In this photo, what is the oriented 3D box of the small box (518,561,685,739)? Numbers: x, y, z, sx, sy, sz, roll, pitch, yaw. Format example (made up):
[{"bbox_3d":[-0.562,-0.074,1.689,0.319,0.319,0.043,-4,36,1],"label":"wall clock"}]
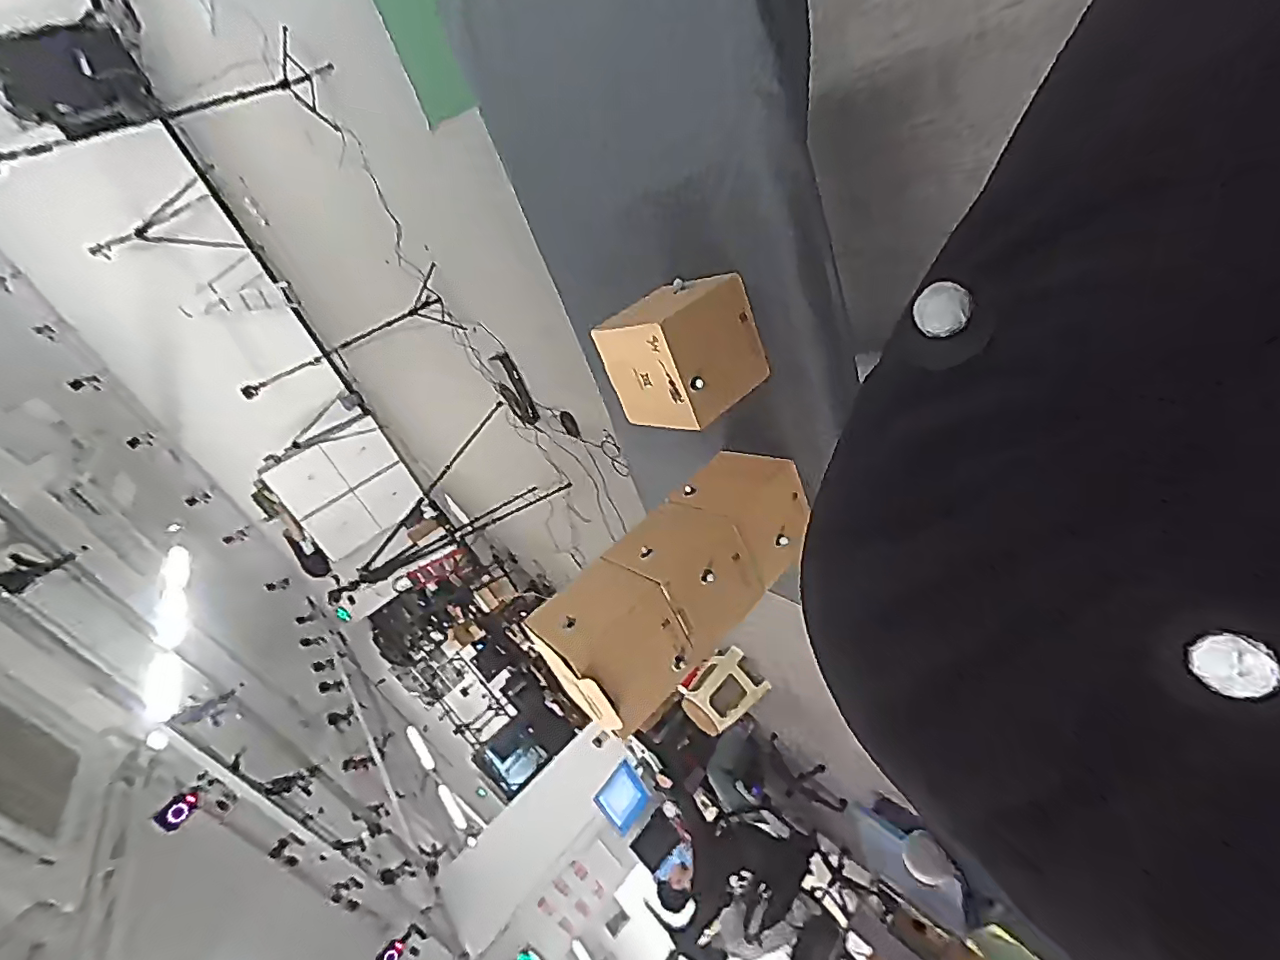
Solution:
[{"bbox_3d":[-0.051,0.247,0.834,0.179,0.176,0.168,11,132,55],"label":"small box"}]

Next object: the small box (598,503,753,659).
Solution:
[{"bbox_3d":[0.067,0.156,0.903,0.179,0.176,0.168,13,134,55],"label":"small box"}]

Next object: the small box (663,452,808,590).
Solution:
[{"bbox_3d":[0.180,0.063,0.974,0.179,0.176,0.168,13,135,53],"label":"small box"}]

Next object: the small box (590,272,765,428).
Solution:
[{"bbox_3d":[0.059,-0.199,0.828,0.179,0.176,0.168,15,137,52],"label":"small box"}]
